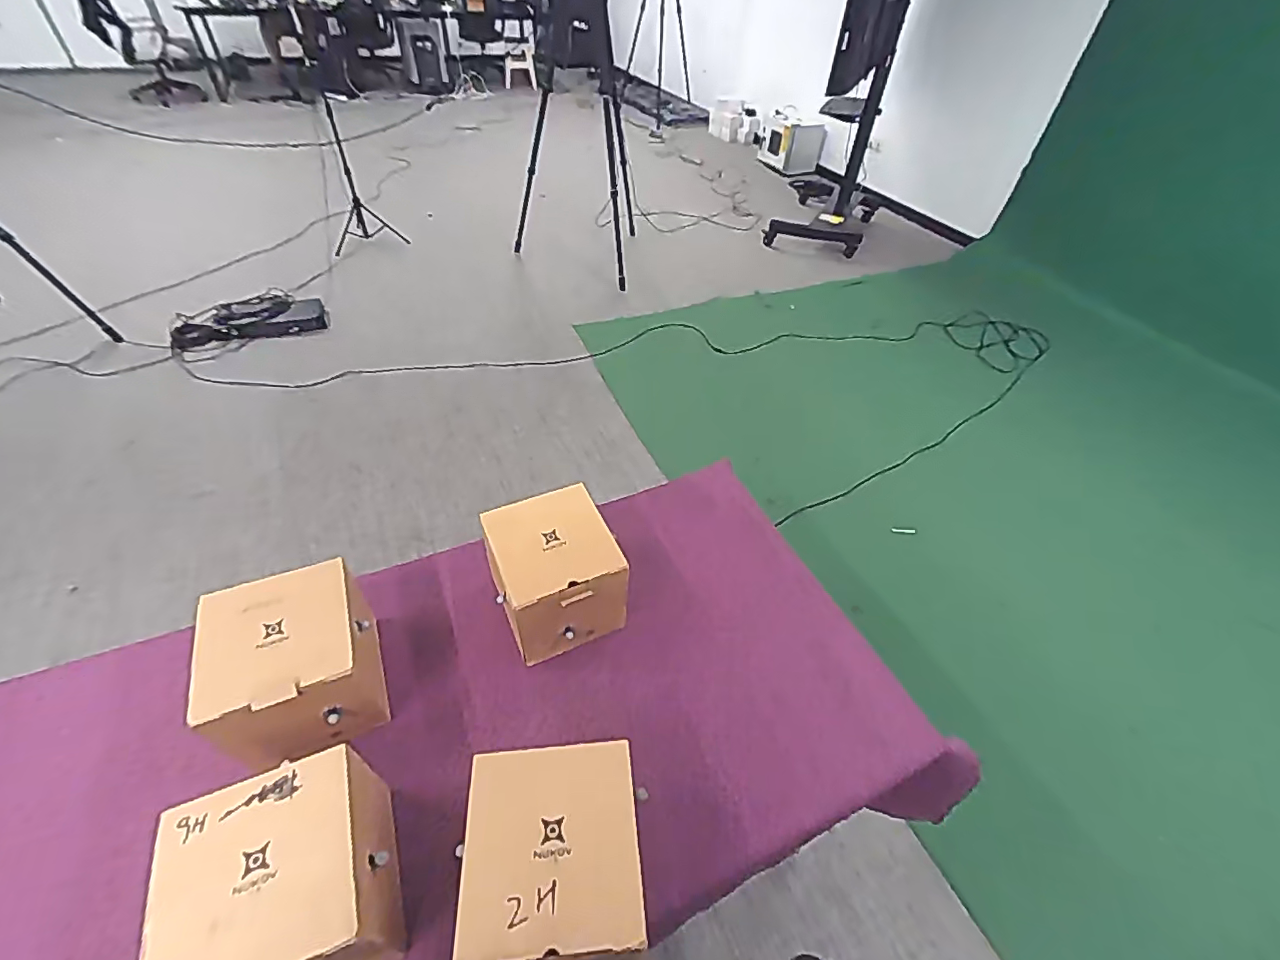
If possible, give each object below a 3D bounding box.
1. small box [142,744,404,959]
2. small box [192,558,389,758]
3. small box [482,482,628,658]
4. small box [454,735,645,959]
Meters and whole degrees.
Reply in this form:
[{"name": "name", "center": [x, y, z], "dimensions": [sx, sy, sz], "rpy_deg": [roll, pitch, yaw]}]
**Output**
[{"name": "small box", "center": [-0.352, 0.409, 0.549], "dimensions": [0.168, 0.176, 0.179], "rpy_deg": [-15, 49, -19]}, {"name": "small box", "center": [-0.443, 0.238, 0.710], "dimensions": [0.168, 0.176, 0.179], "rpy_deg": [-15, 49, -19]}, {"name": "small box", "center": [-0.130, 0.137, 0.830], "dimensions": [0.168, 0.176, 0.179], "rpy_deg": [-18, 51, -20]}, {"name": "small box", "center": [-0.088, 0.397, 0.577], "dimensions": [0.168, 0.176, 0.179], "rpy_deg": [-2, 46, -6]}]
